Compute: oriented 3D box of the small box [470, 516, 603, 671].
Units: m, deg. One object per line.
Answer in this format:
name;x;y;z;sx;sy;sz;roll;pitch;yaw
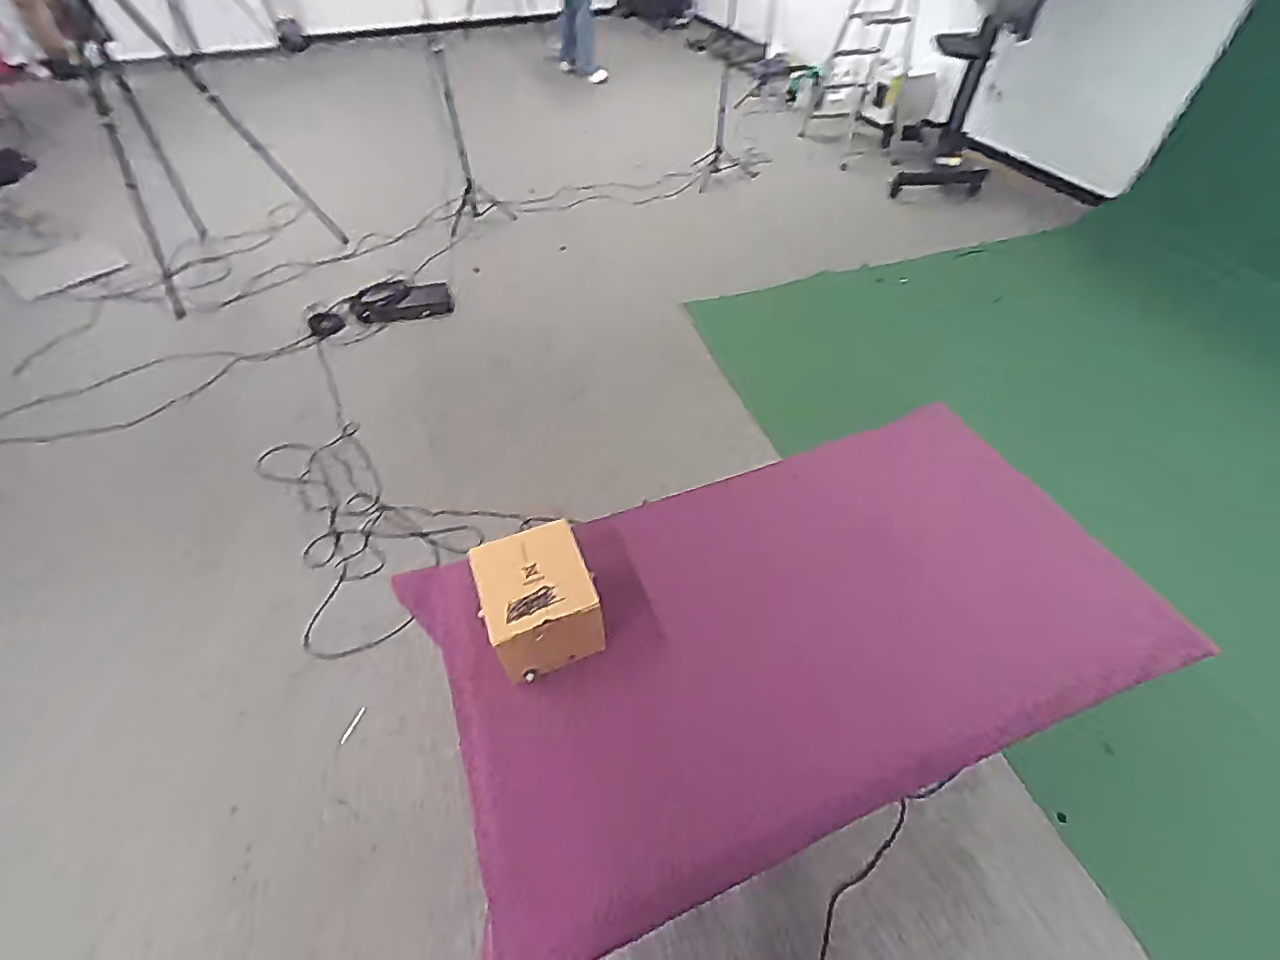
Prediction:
small box;-0.166;0.195;0.898;0.168;0.176;0.179;-17;52;-14
